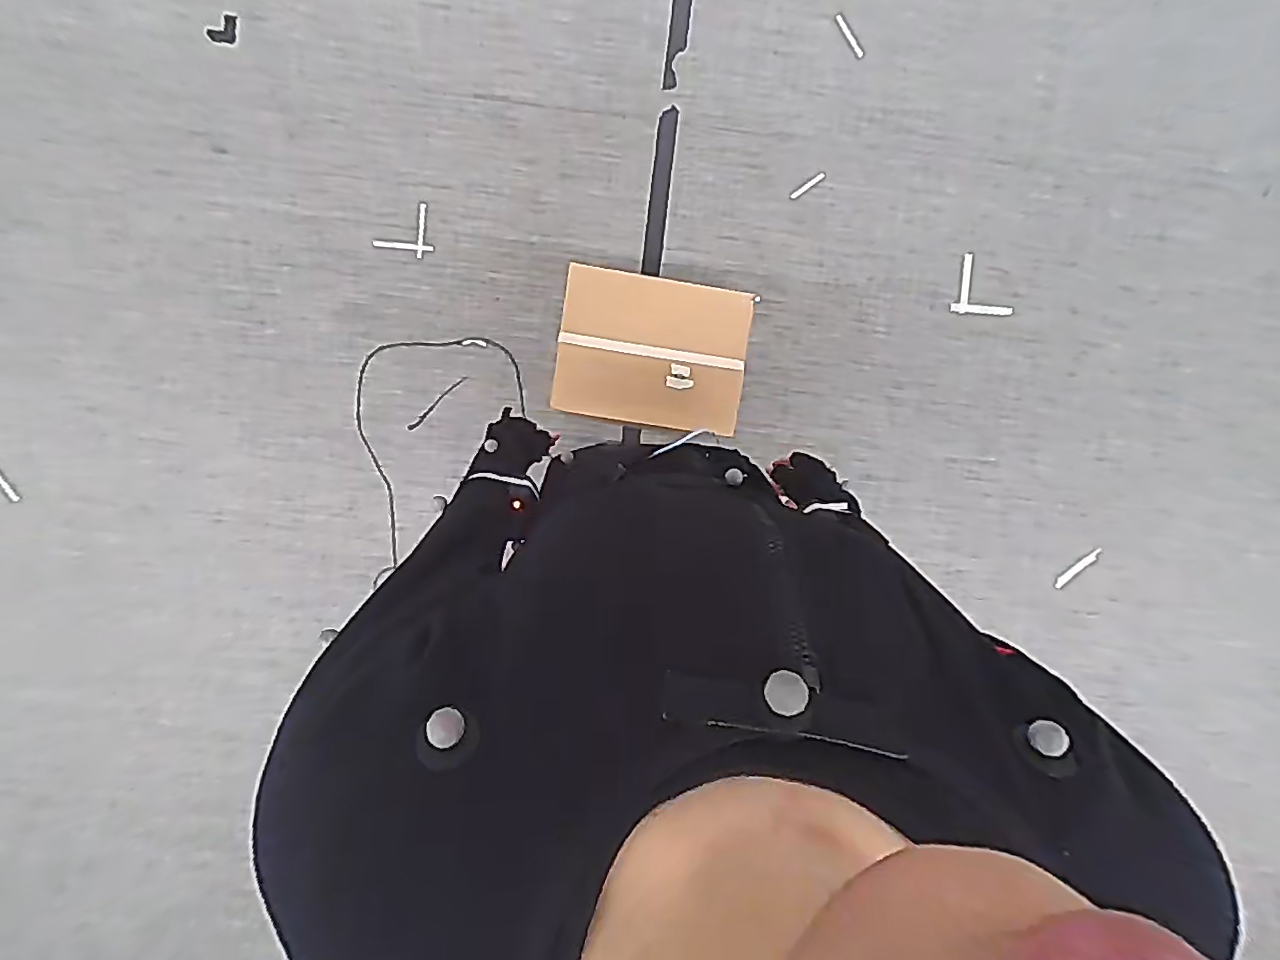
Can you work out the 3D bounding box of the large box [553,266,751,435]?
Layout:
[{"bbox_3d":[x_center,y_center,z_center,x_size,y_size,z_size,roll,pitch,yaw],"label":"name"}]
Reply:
[{"bbox_3d":[0.016,-0.291,1.322,0.408,0.320,0.320,9,94,-4],"label":"large box"}]
